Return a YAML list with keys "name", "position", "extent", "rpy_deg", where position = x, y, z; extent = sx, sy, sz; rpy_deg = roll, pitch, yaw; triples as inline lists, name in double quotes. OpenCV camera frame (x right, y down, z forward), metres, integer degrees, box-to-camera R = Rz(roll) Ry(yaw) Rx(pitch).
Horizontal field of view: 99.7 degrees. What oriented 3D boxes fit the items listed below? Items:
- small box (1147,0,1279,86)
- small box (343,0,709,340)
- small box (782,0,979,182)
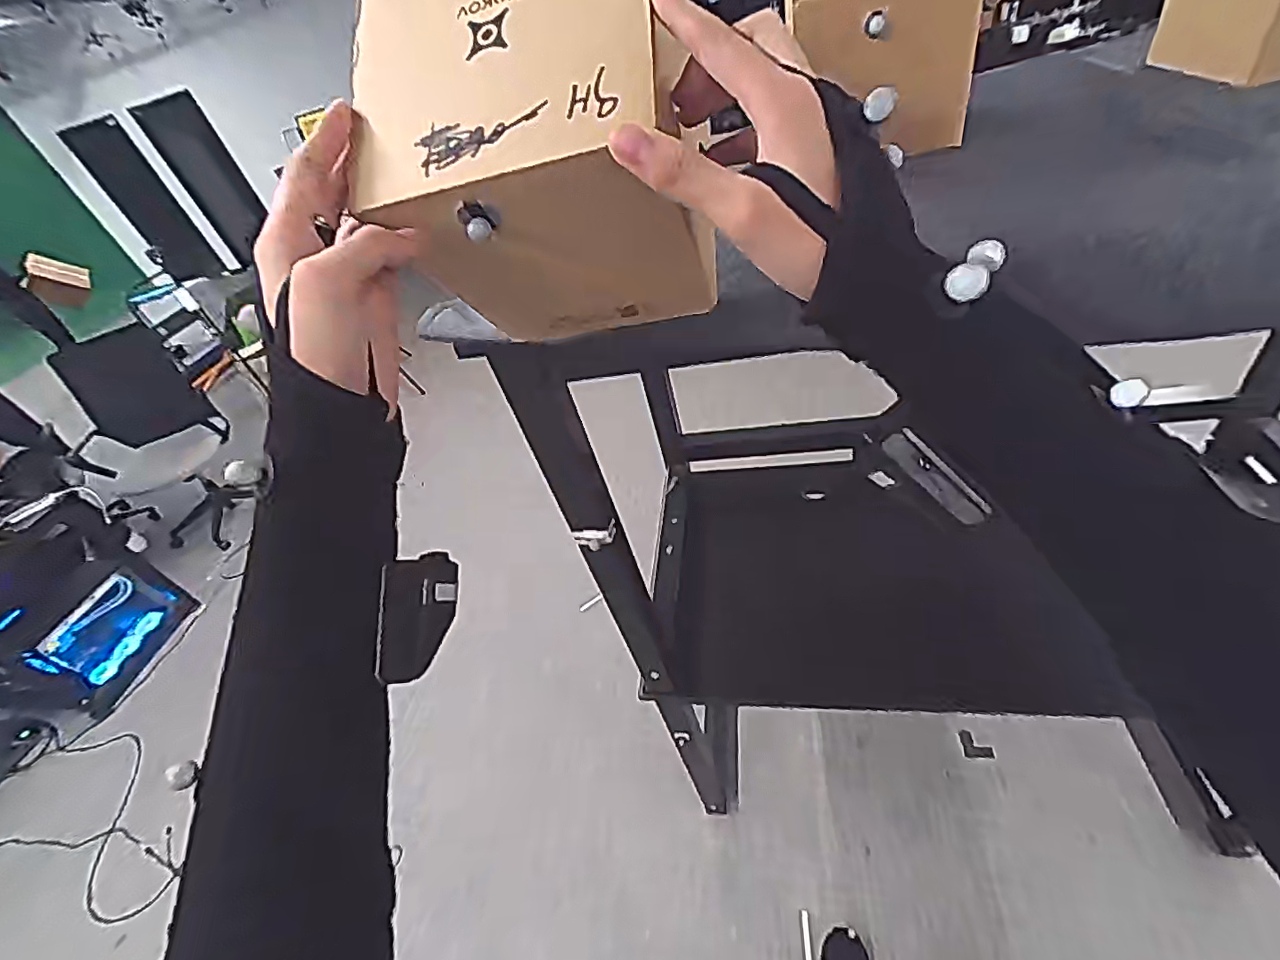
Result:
- name: "small box"
  position: [0.641, -0.494, 0.504]
  extent: [0.168, 0.176, 0.179]
  rpy_deg: [-5, 43, 13]
- name: "small box"
  position: [-0.051, -0.212, 0.345]
  extent: [0.168, 0.176, 0.179]
  rpy_deg: [-4, 80, 17]
- name: "small box"
  position: [0.255, -0.463, 0.609]
  extent: [0.179, 0.176, 0.168]
  rpy_deg: [-4, 43, 16]
